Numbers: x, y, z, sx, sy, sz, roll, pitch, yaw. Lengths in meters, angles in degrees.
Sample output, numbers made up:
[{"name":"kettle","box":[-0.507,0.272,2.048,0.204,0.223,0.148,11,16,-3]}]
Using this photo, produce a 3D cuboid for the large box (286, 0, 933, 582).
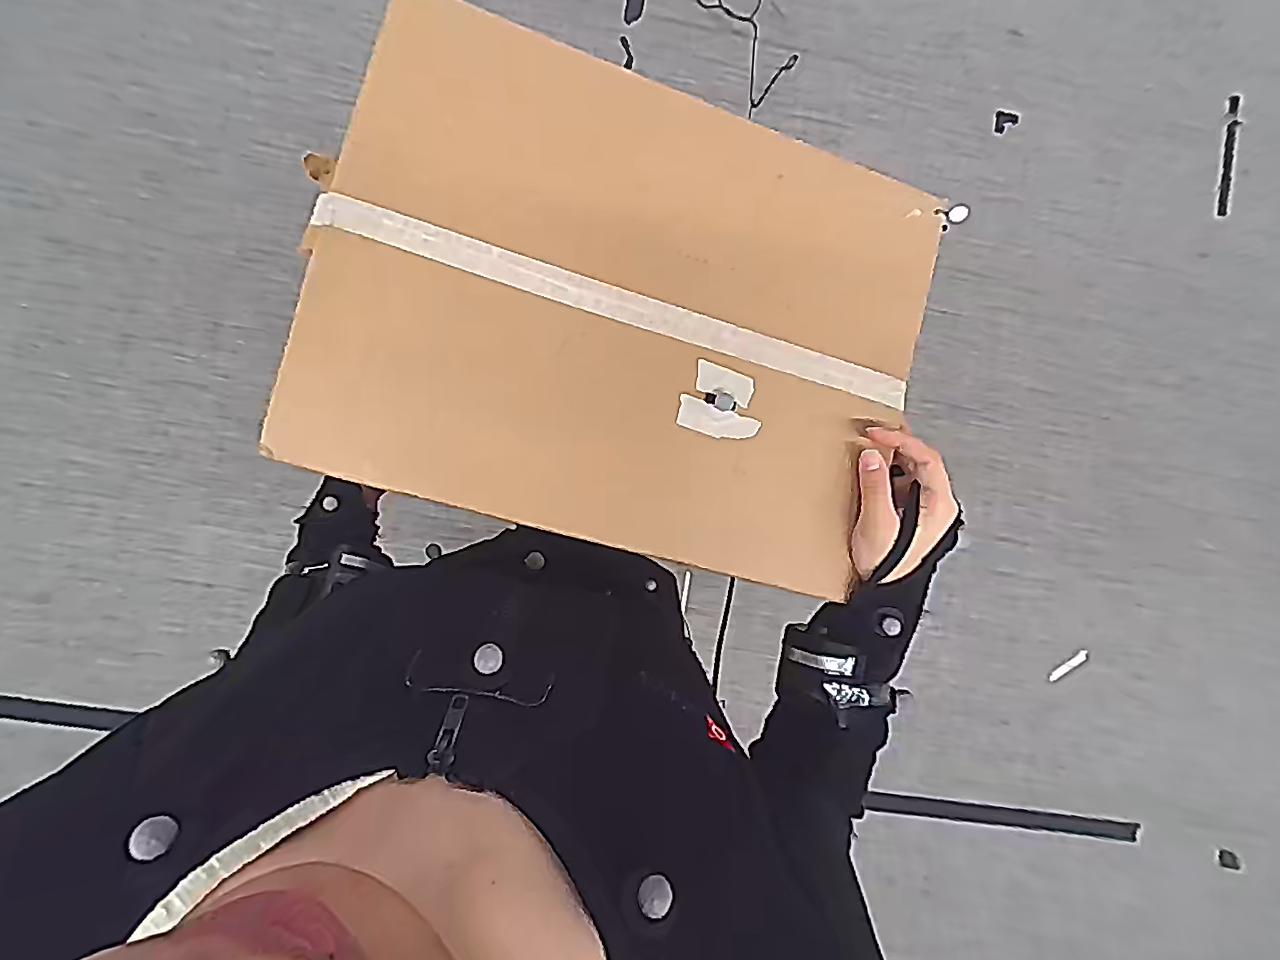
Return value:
[{"name":"large box","box":[-0.025,-0.116,0.519,0.408,0.320,0.320,15,88,-11]}]
